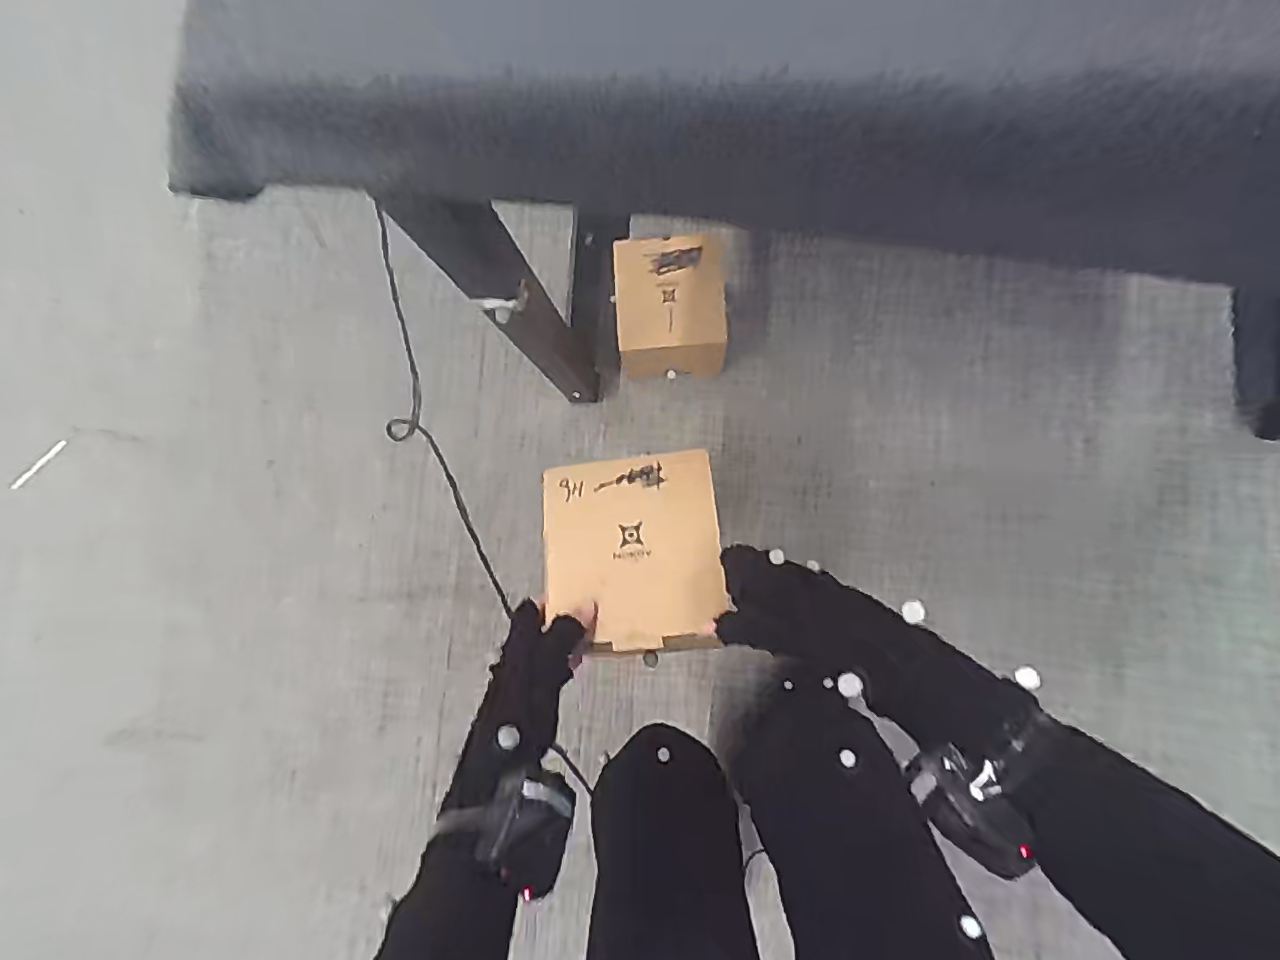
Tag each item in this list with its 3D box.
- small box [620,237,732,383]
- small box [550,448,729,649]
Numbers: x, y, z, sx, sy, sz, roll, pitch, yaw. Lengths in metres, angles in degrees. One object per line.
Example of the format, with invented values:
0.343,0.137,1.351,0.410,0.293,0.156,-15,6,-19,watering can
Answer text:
0.059,-0.272,0.897,0.168,0.176,0.179,-4,85,5,small box
0.006,0.086,0.586,0.168,0.176,0.179,-7,67,6,small box
